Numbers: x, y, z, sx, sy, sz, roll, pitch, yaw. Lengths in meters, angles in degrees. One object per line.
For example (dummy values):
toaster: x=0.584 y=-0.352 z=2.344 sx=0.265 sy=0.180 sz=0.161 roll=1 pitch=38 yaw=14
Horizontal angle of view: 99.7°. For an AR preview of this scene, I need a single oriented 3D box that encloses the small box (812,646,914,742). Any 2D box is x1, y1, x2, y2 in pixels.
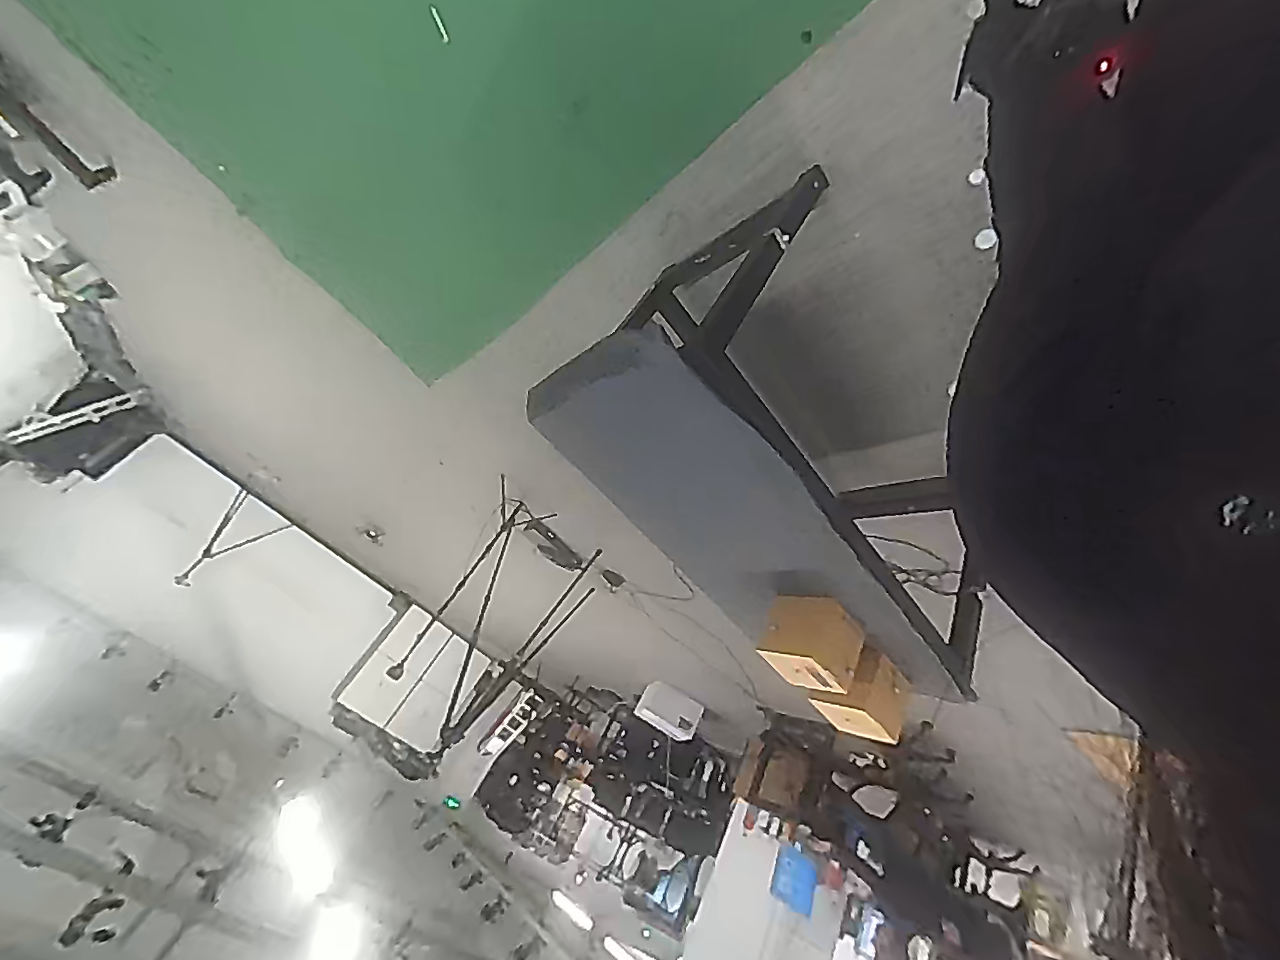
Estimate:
small box: x=0.603 y=0.566 z=1.455 sx=0.168 sy=0.176 sz=0.179 roll=45 pitch=148 yaw=-20
